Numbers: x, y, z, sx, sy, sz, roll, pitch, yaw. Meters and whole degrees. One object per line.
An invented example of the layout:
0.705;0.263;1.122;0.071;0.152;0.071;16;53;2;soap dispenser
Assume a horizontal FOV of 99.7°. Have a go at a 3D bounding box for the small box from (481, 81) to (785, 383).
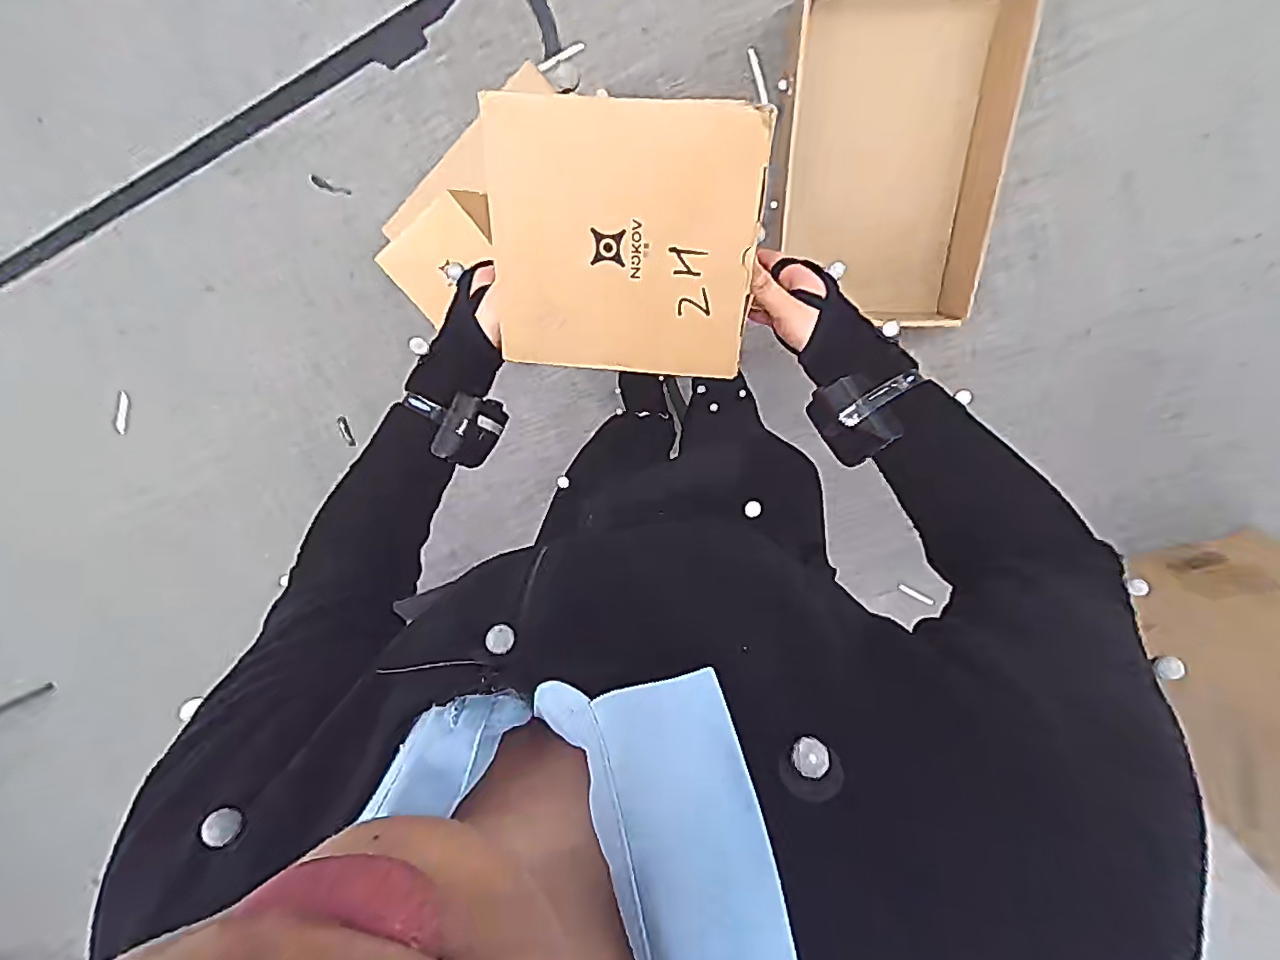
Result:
-0.003;-0.190;0.413;0.179;0.176;0.168;6;123;3;small box
